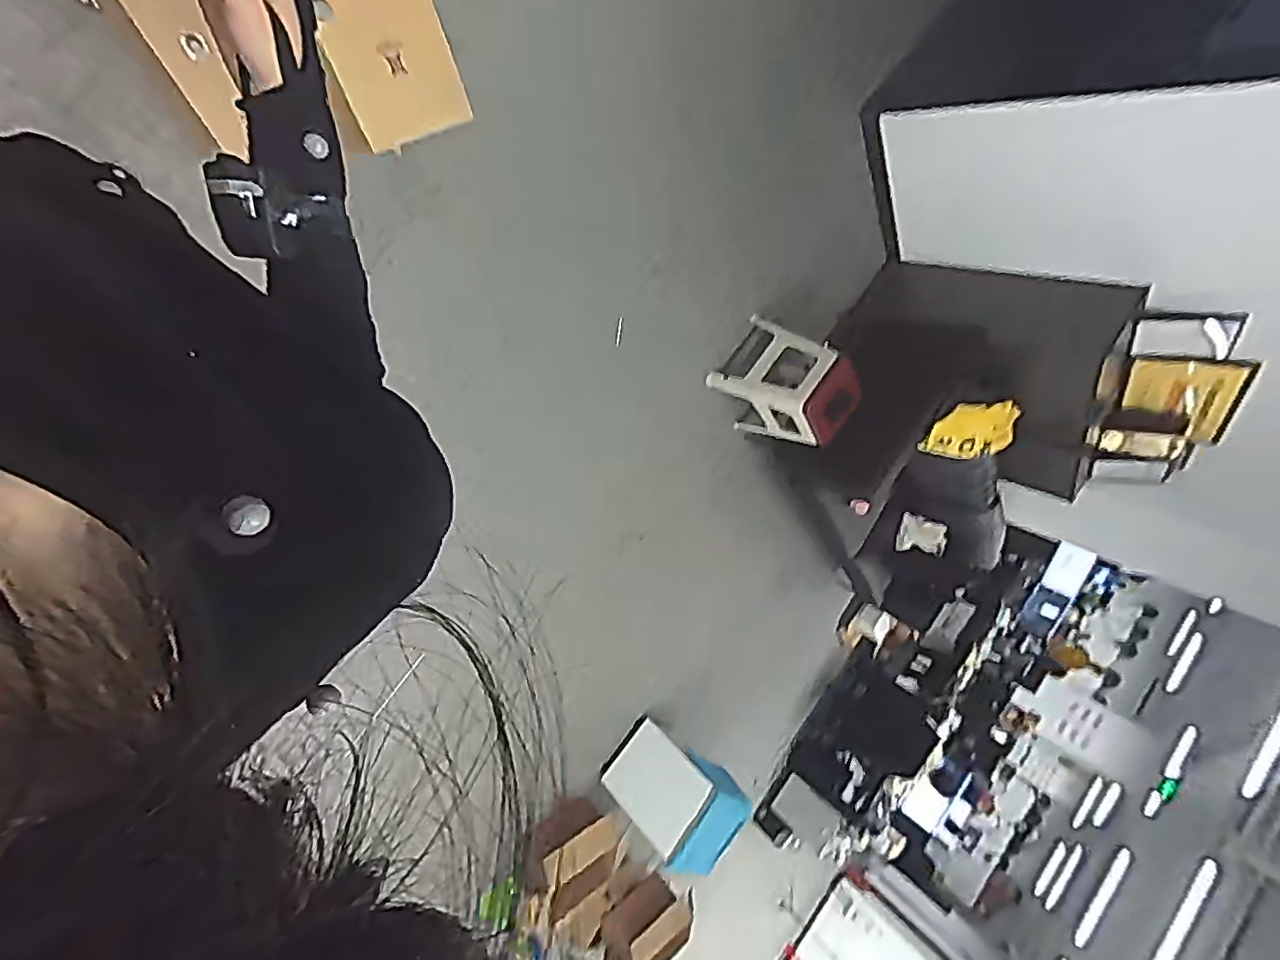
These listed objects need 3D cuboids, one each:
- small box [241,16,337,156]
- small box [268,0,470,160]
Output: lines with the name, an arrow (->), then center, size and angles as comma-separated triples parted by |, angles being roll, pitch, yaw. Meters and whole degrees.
small box -> -0.488, -0.636, 0.862 | 0.179, 0.176, 0.168 | -40, 134, -23
small box -> -0.378, -0.572, 0.761 | 0.168, 0.176, 0.179 | -39, 134, -25
